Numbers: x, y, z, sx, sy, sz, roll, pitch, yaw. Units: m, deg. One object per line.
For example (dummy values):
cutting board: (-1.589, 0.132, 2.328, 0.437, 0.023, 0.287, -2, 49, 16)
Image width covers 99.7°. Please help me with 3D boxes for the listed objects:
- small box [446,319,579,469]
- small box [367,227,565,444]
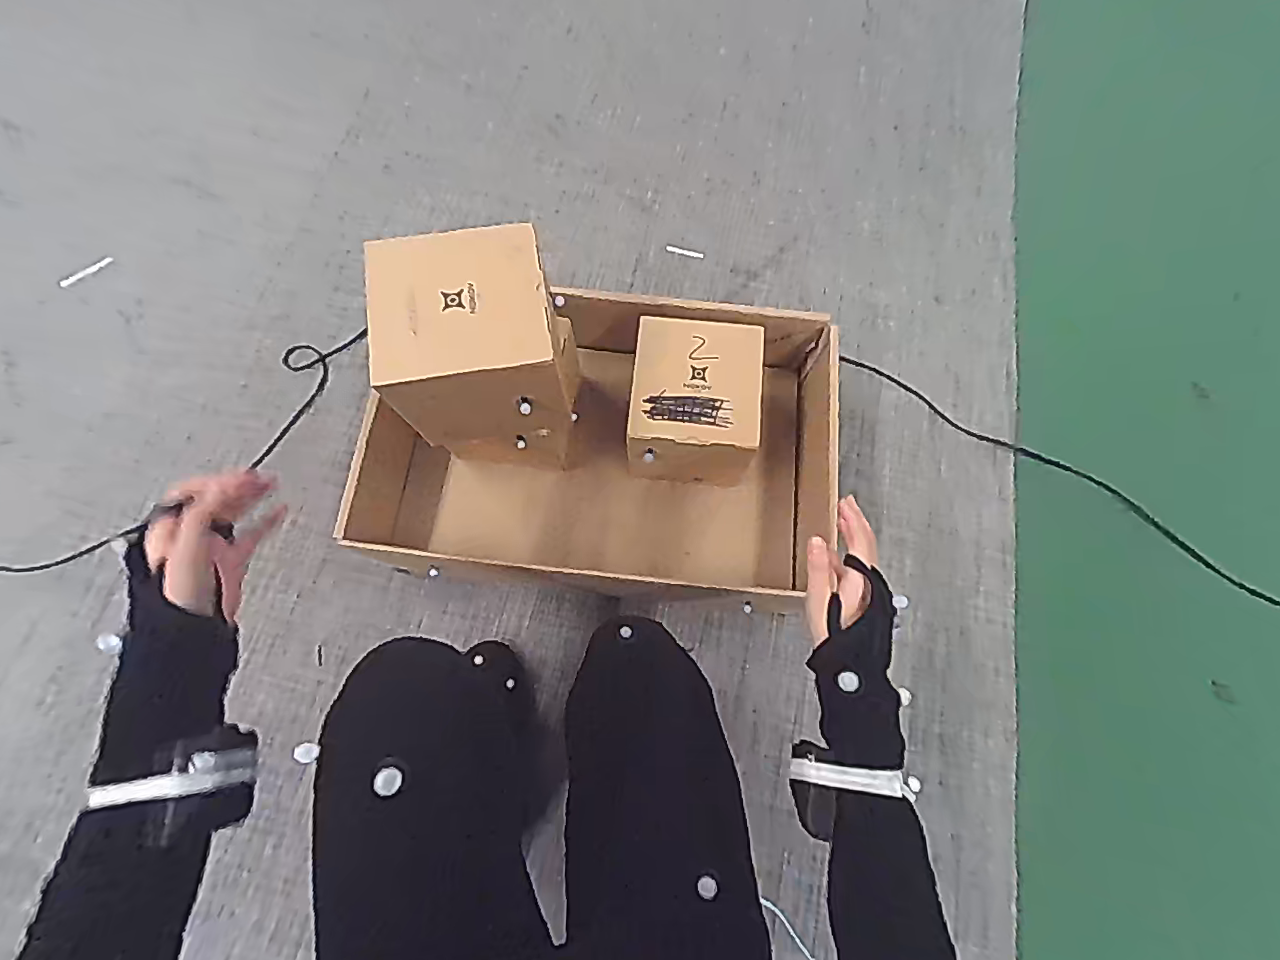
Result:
small box: (-0.191, -0.122, 0.772, 0.179, 0.176, 0.168, 8, 74, 0)
small box: (-0.182, -0.152, 0.611, 0.179, 0.176, 0.168, -9, 74, -3)
